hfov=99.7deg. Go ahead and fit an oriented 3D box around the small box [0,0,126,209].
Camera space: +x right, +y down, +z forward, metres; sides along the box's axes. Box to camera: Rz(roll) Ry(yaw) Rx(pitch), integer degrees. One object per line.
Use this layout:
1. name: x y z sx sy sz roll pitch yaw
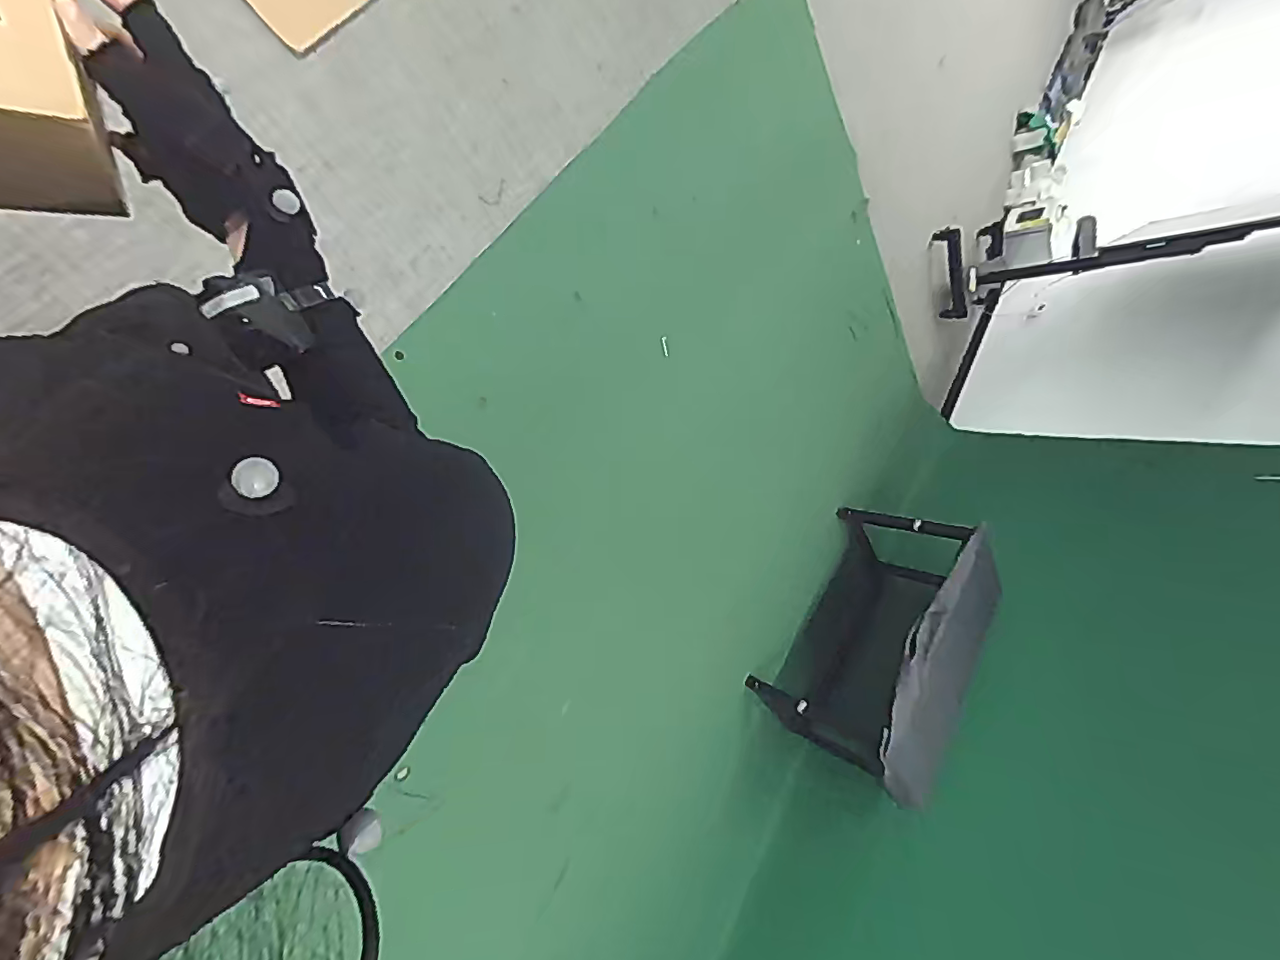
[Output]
1. small box: -0.437 -0.270 0.303 0.179 0.176 0.168 -14 102 -36
